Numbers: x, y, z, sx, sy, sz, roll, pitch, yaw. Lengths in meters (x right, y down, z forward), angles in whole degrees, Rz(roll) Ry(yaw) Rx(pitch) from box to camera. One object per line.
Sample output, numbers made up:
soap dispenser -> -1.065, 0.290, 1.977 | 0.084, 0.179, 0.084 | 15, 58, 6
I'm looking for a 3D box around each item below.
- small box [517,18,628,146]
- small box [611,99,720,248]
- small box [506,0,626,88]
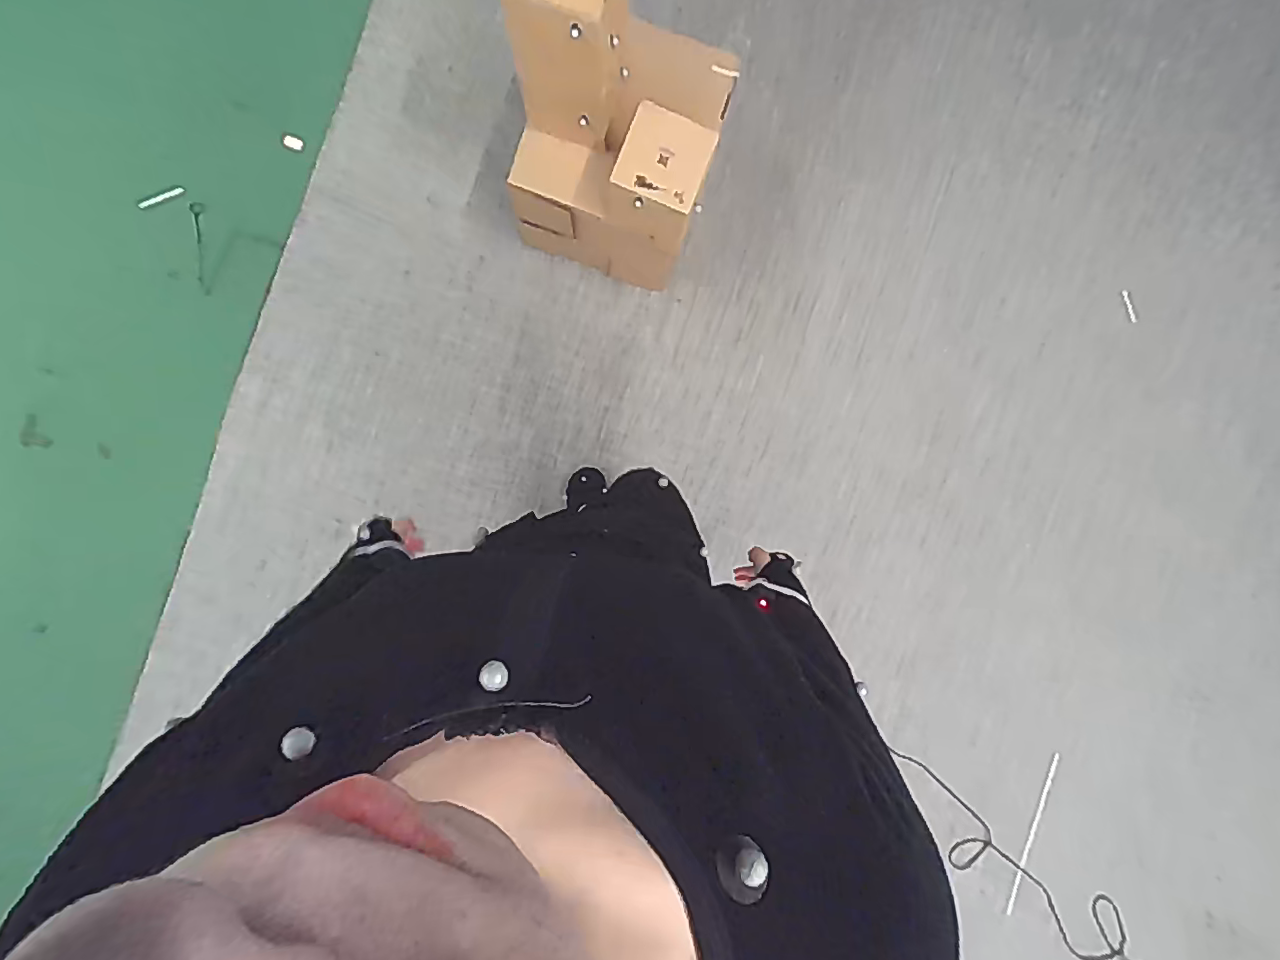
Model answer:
small box -> -0.132, -0.828, 1.107 | 0.179, 0.176, 0.168 | 16, 87, -2
small box -> 0.043, -0.618, 1.112 | 0.168, 0.176, 0.179 | 23, 88, -3
small box -> -0.128, -0.837, 0.945 | 0.179, 0.176, 0.168 | 17, 87, -3
